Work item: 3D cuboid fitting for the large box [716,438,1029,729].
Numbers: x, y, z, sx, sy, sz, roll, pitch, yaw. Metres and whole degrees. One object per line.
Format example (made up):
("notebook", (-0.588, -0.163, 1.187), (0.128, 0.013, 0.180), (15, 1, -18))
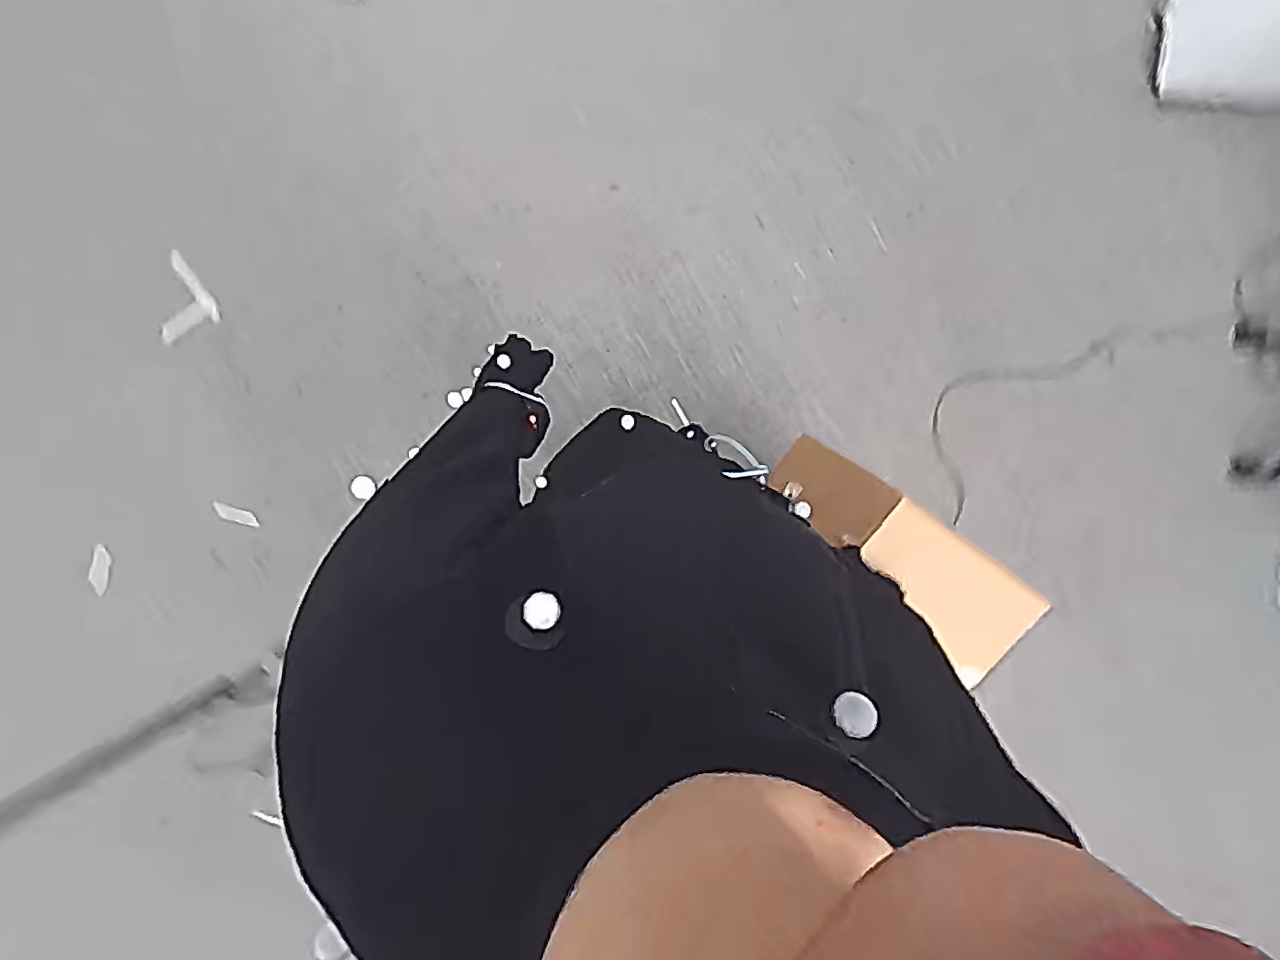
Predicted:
("large box", (0.386, 0.164, 1.013), (0.320, 0.408, 0.320), (34, 103, -11))
